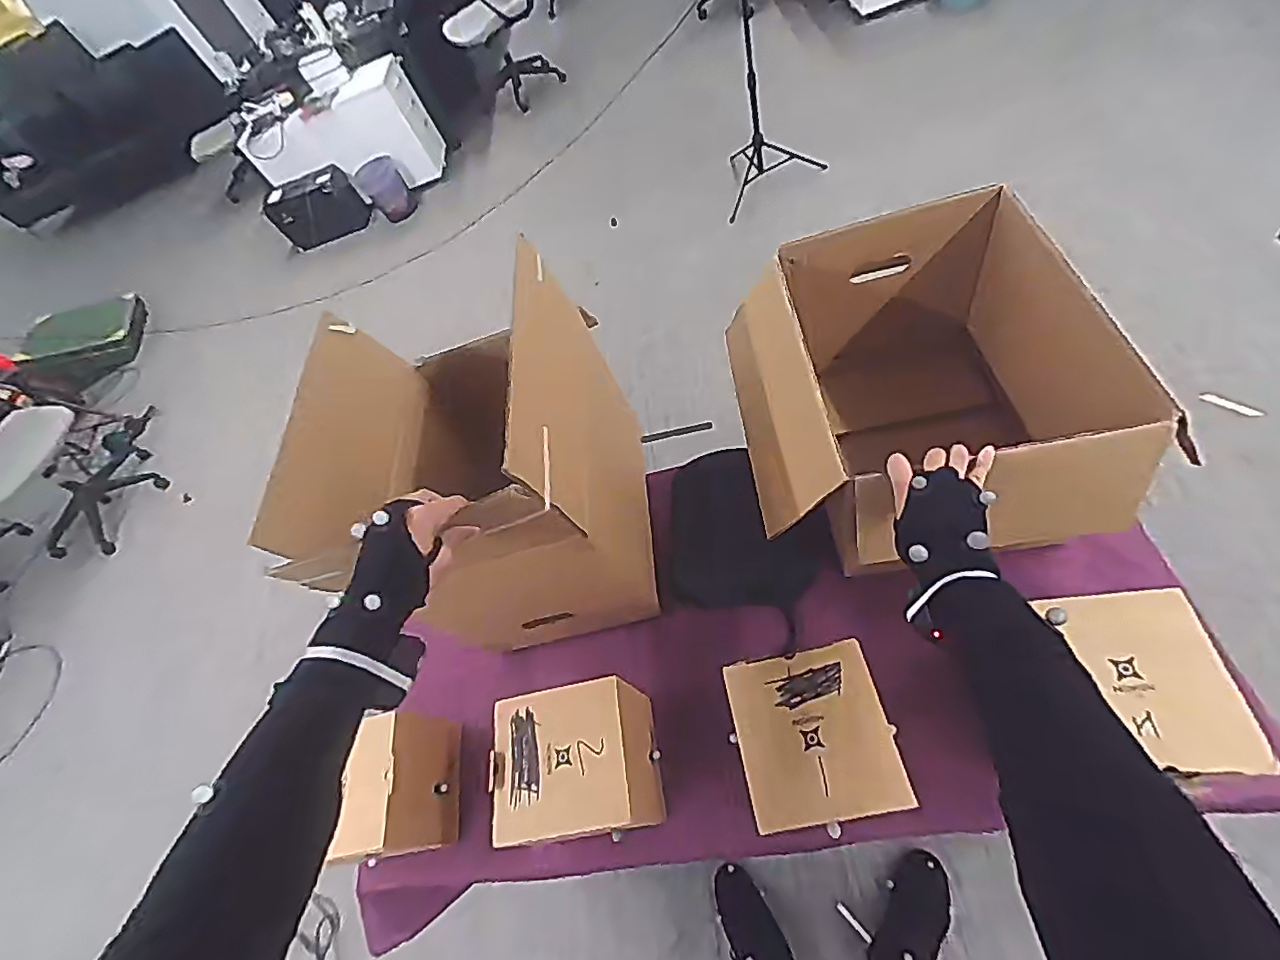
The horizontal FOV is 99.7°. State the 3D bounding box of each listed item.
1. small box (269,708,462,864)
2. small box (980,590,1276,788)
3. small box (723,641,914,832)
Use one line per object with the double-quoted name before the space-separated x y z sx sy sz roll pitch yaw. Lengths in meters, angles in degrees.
"small box" -0.389 0.452 0.797 0.179 0.176 0.168 -16 56 8
"small box" 0.510 0.240 0.607 0.168 0.176 0.179 -10 57 15
"small box" 0.210 0.319 0.666 0.168 0.176 0.179 -16 57 10
